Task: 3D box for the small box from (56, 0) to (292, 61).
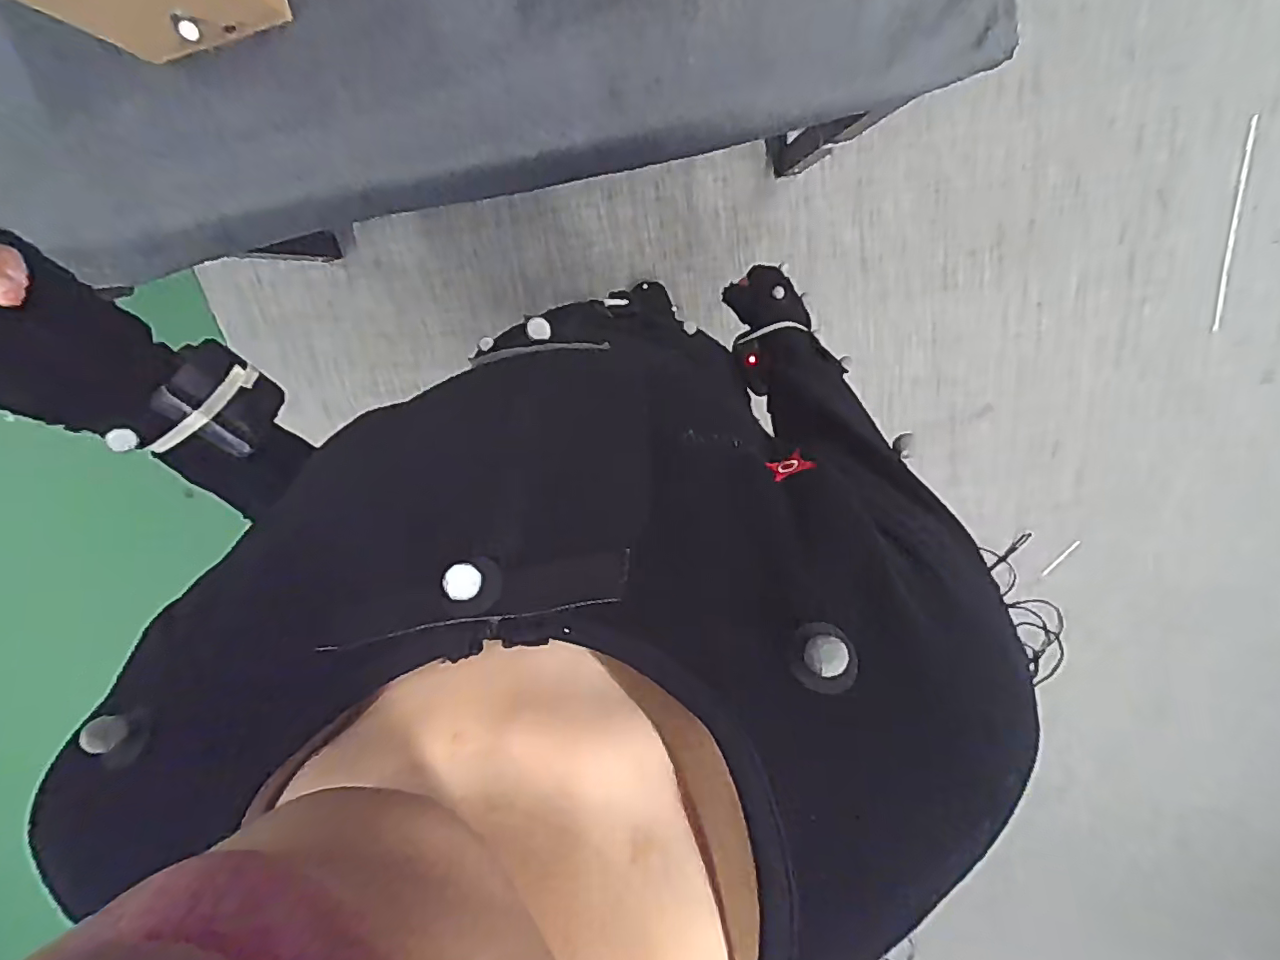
[{"bbox_3d":[-0.456,-0.516,0.470,0.168,0.176,0.179,-13,109,5],"label":"small box"}]
